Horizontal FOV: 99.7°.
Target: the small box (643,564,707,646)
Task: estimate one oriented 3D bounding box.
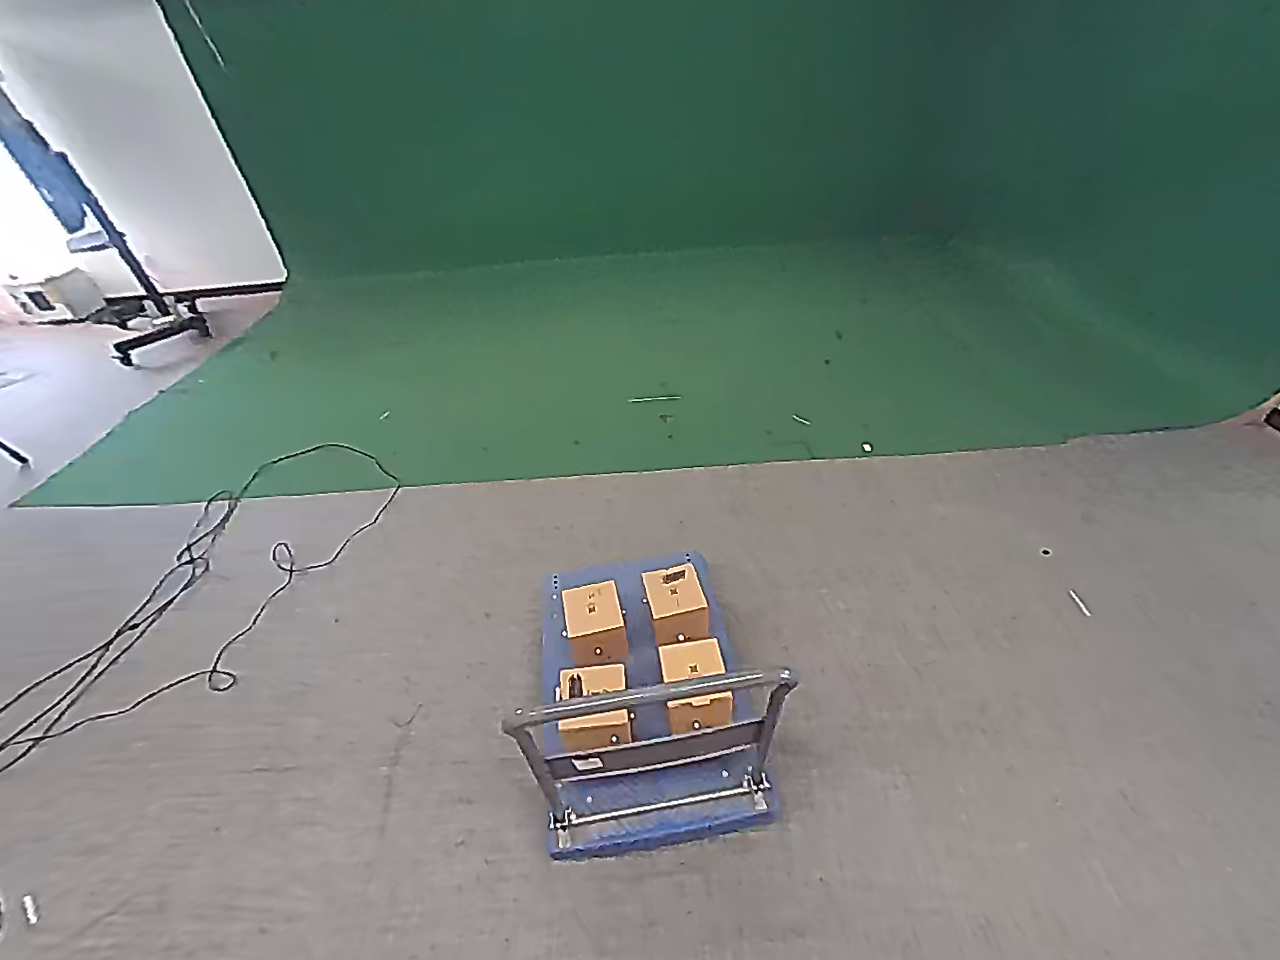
[{"bbox_3d":[0.108,0.397,1.701,0.168,0.176,0.179,-12,42,-5],"label":"small box"}]

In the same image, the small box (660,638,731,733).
[{"bbox_3d":[0.148,0.570,1.496,0.168,0.176,0.179,-8,41,-3],"label":"small box"}]

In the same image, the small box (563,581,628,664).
[{"bbox_3d":[-0.137,0.447,1.672,0.168,0.176,0.179,-10,41,-7],"label":"small box"}]
